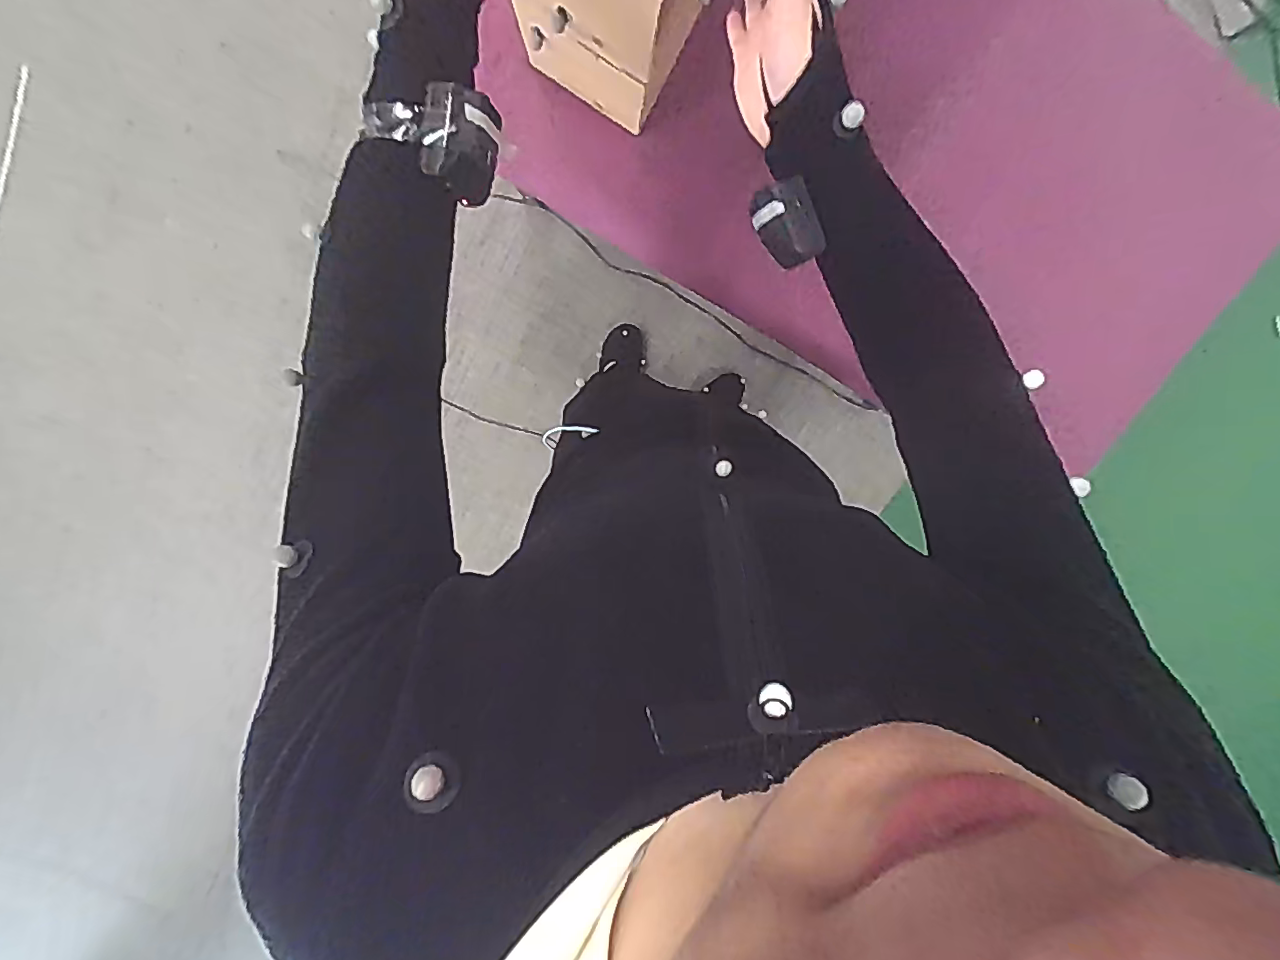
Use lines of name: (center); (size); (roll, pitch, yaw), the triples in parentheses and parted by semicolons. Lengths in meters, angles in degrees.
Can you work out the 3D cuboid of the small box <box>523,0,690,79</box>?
small box: (-0.018, -0.519, 0.483); (0.168, 0.176, 0.179); (26, 104, -10)
